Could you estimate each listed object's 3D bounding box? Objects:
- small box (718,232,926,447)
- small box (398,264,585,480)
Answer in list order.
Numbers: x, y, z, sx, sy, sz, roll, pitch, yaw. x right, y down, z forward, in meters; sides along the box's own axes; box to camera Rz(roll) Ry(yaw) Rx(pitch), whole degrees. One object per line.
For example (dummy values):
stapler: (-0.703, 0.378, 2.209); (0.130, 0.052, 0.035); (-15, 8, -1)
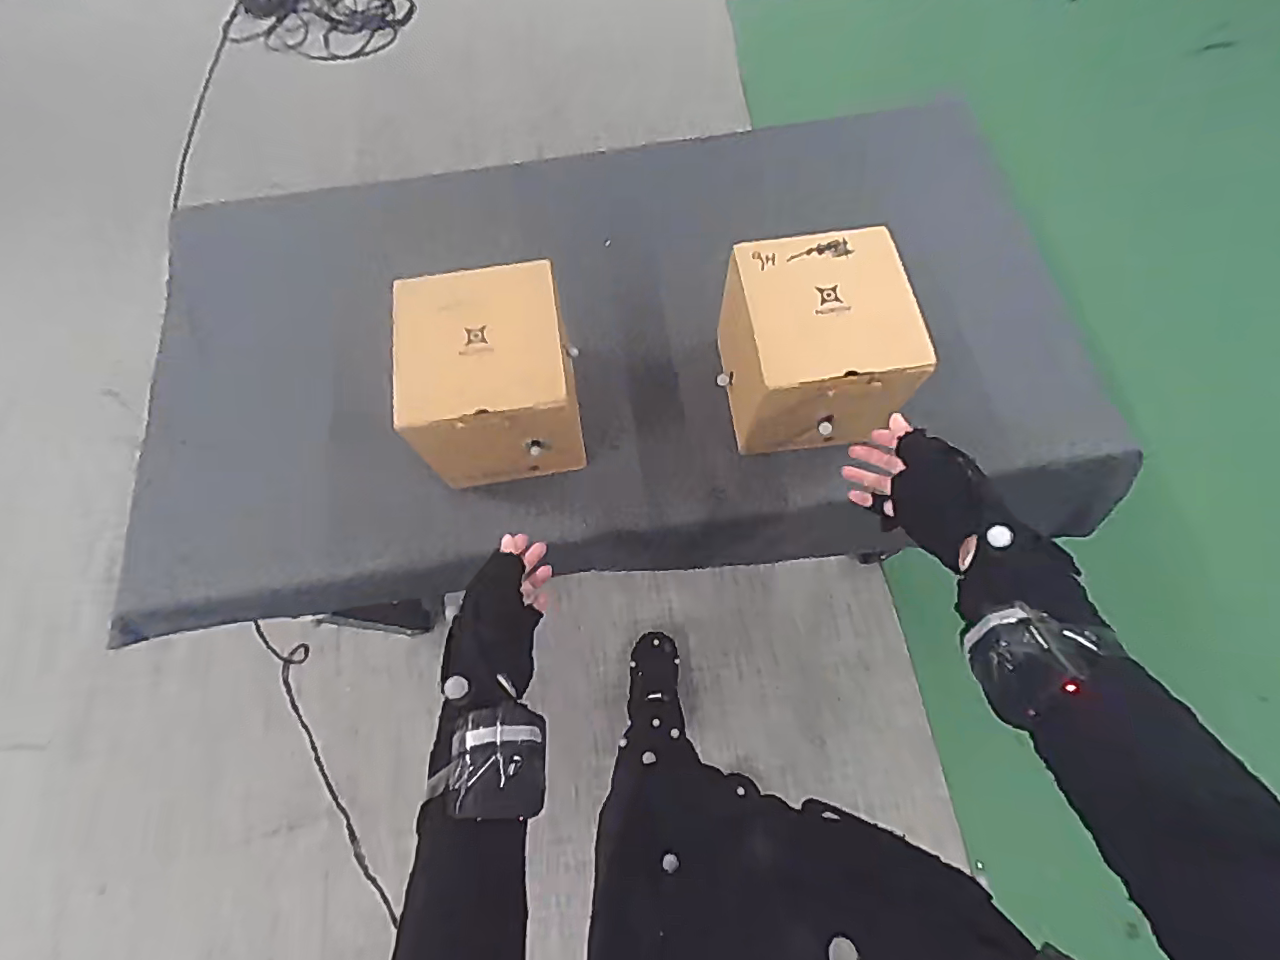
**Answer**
small box: (0.190, -0.147, 0.622); (0.168, 0.176, 0.179); (-7, 70, -1)
small box: (-0.160, -0.110, 0.617); (0.168, 0.176, 0.179); (-9, 68, -4)
